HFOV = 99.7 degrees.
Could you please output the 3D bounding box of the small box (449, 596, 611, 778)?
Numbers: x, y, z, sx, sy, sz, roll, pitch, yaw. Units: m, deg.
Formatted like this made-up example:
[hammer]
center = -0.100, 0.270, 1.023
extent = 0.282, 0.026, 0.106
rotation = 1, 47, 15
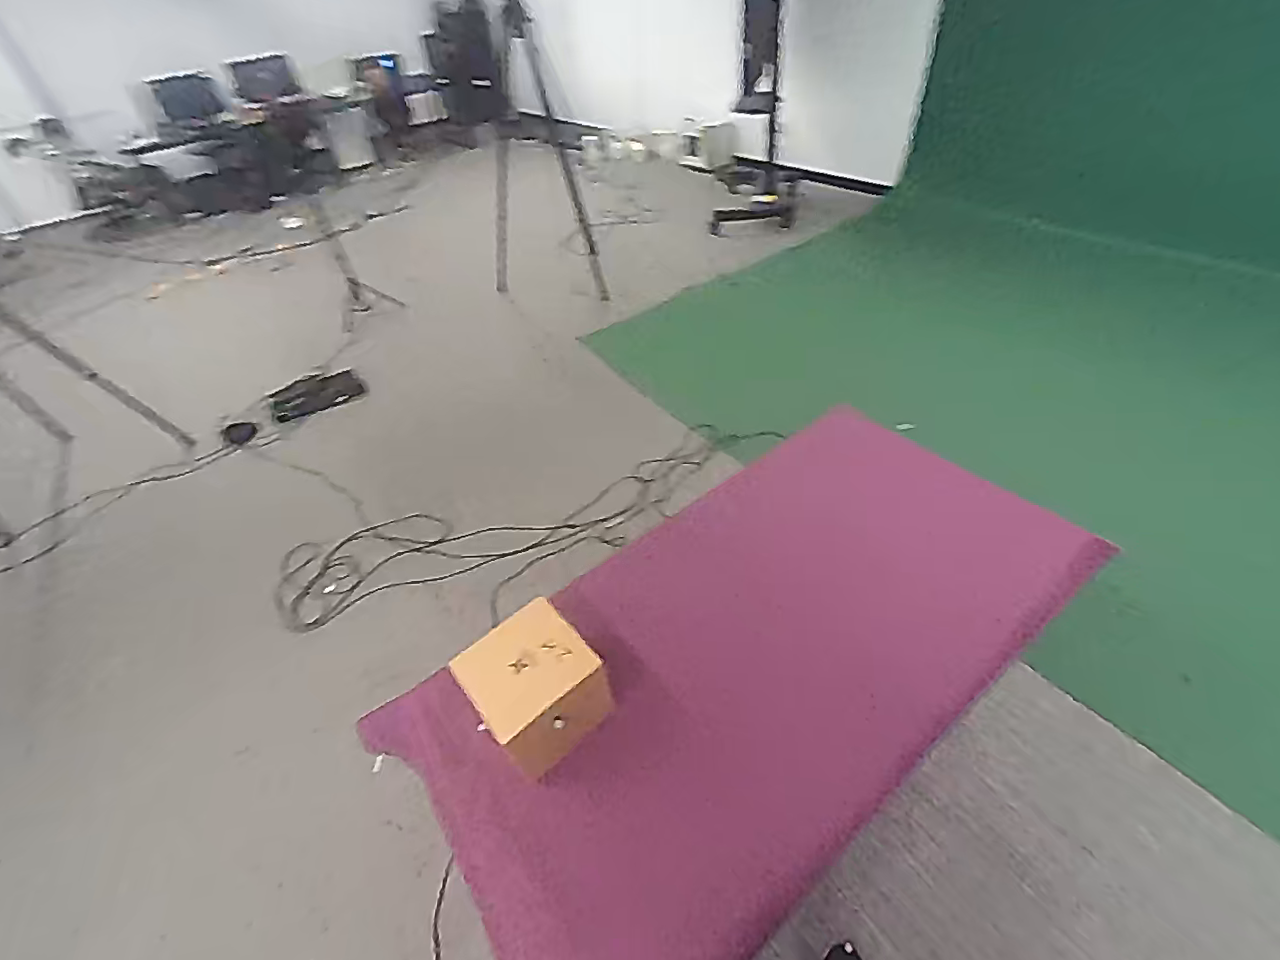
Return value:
[small box]
center = -0.165, 0.329, 0.856
extent = 0.179, 0.176, 0.168
rotation = -34, 50, -24
